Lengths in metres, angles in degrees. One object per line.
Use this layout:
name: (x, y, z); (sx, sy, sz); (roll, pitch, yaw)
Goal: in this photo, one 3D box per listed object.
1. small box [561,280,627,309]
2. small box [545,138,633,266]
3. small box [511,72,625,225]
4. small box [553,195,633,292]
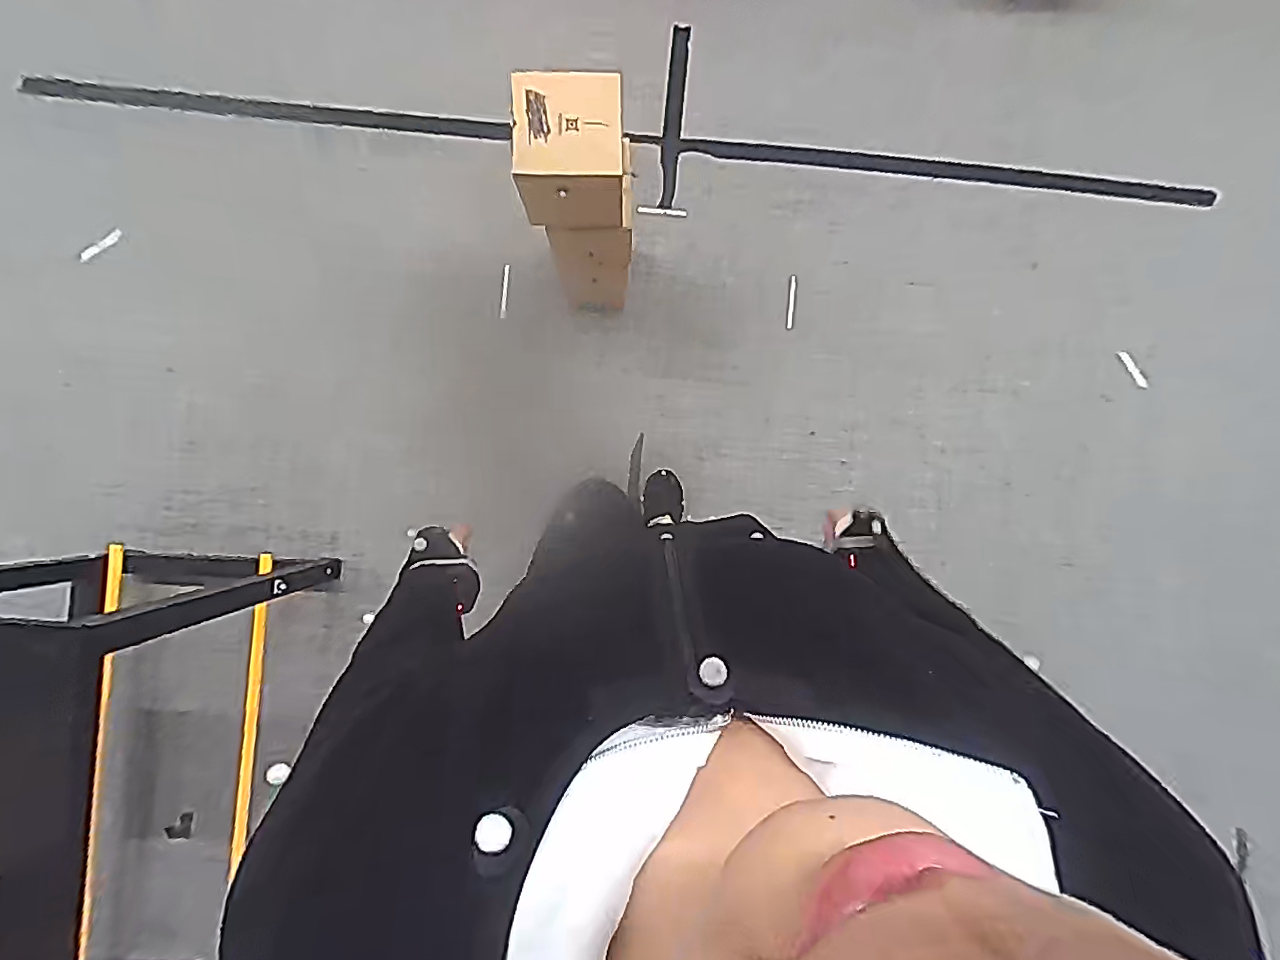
small box: (-0.113, -0.568, 1.420); (0.168, 0.176, 0.179); (3, 90, -1)
small box: (-0.100, -0.553, 1.091); (0.168, 0.176, 0.179); (-2, 89, -1)
small box: (-0.116, -0.555, 0.926); (0.179, 0.176, 0.168); (-1, 89, -2)
small box: (-0.104, -0.553, 1.257); (0.168, 0.176, 0.179); (3, 90, -1)
